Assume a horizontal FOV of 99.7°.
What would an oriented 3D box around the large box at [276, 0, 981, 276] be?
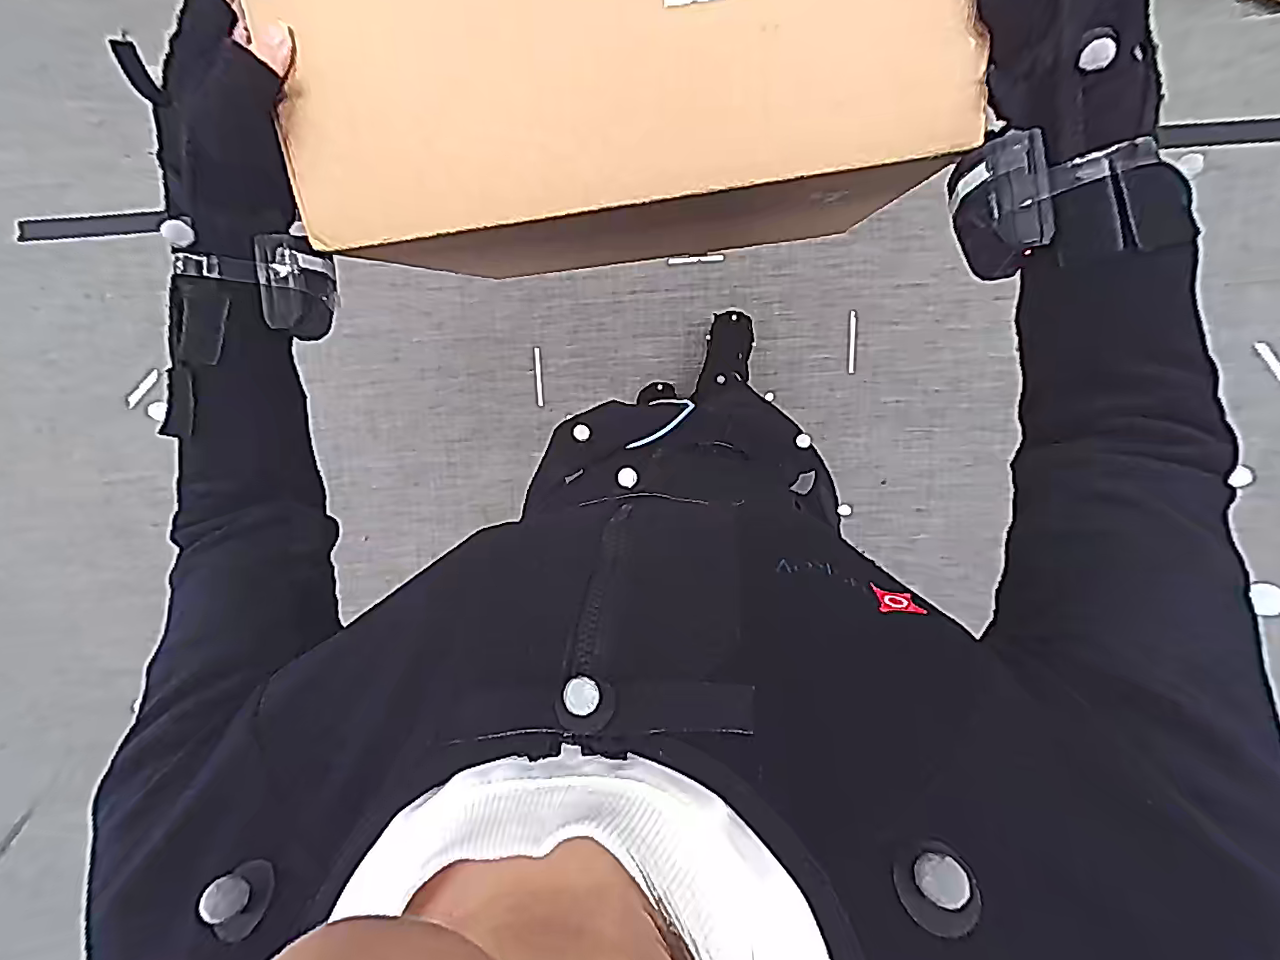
[{"bbox_3d":[-0.010,-0.365,0.435,0.408,0.320,0.320,-5,107,8],"label":"large box"}]
